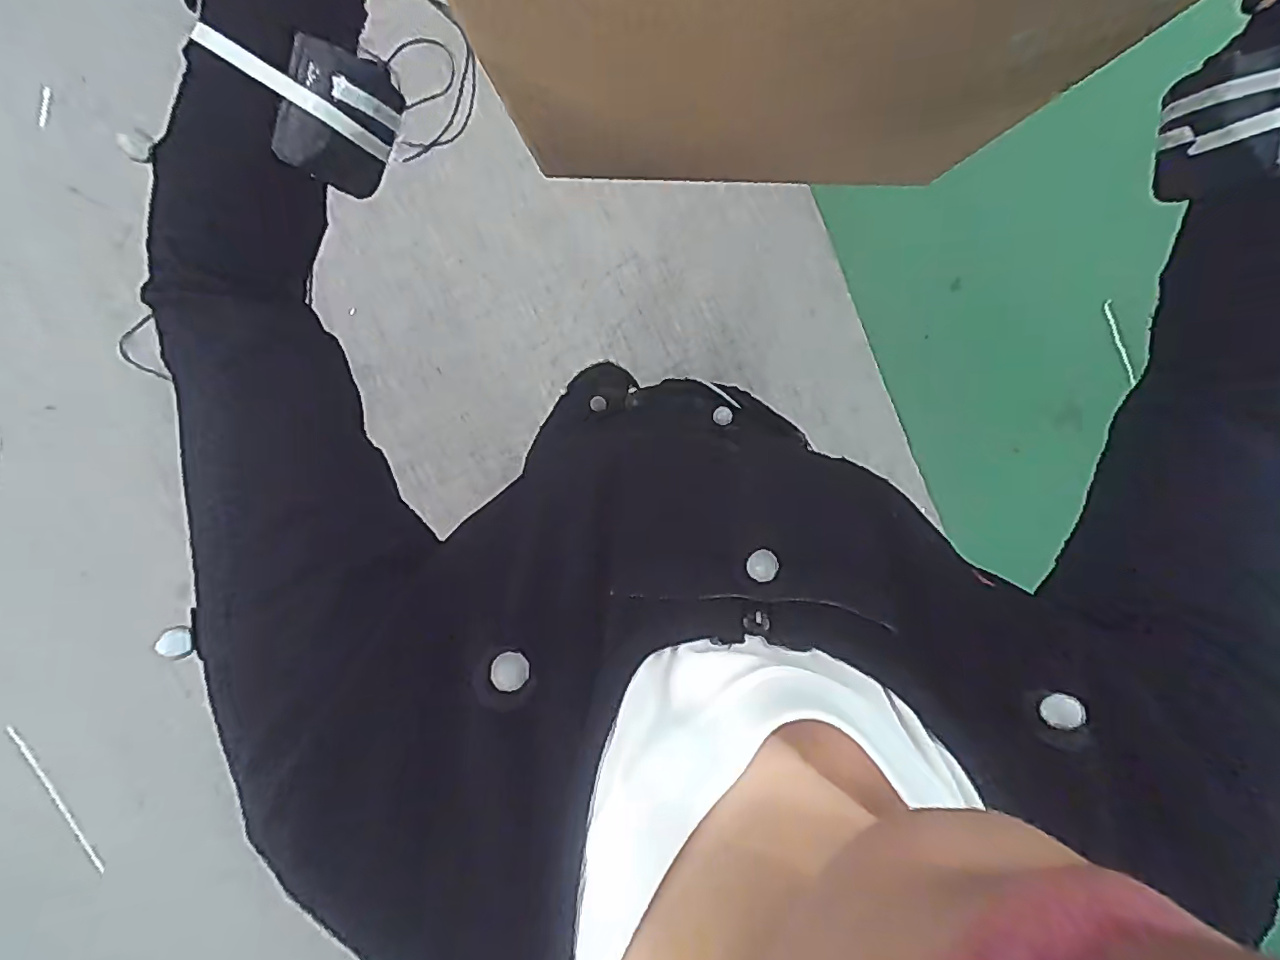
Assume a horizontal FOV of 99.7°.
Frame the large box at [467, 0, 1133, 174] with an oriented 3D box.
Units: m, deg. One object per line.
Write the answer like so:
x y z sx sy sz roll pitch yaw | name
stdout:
0.093 -0.443 0.391 0.408 0.320 0.320 1 102 0 | large box
